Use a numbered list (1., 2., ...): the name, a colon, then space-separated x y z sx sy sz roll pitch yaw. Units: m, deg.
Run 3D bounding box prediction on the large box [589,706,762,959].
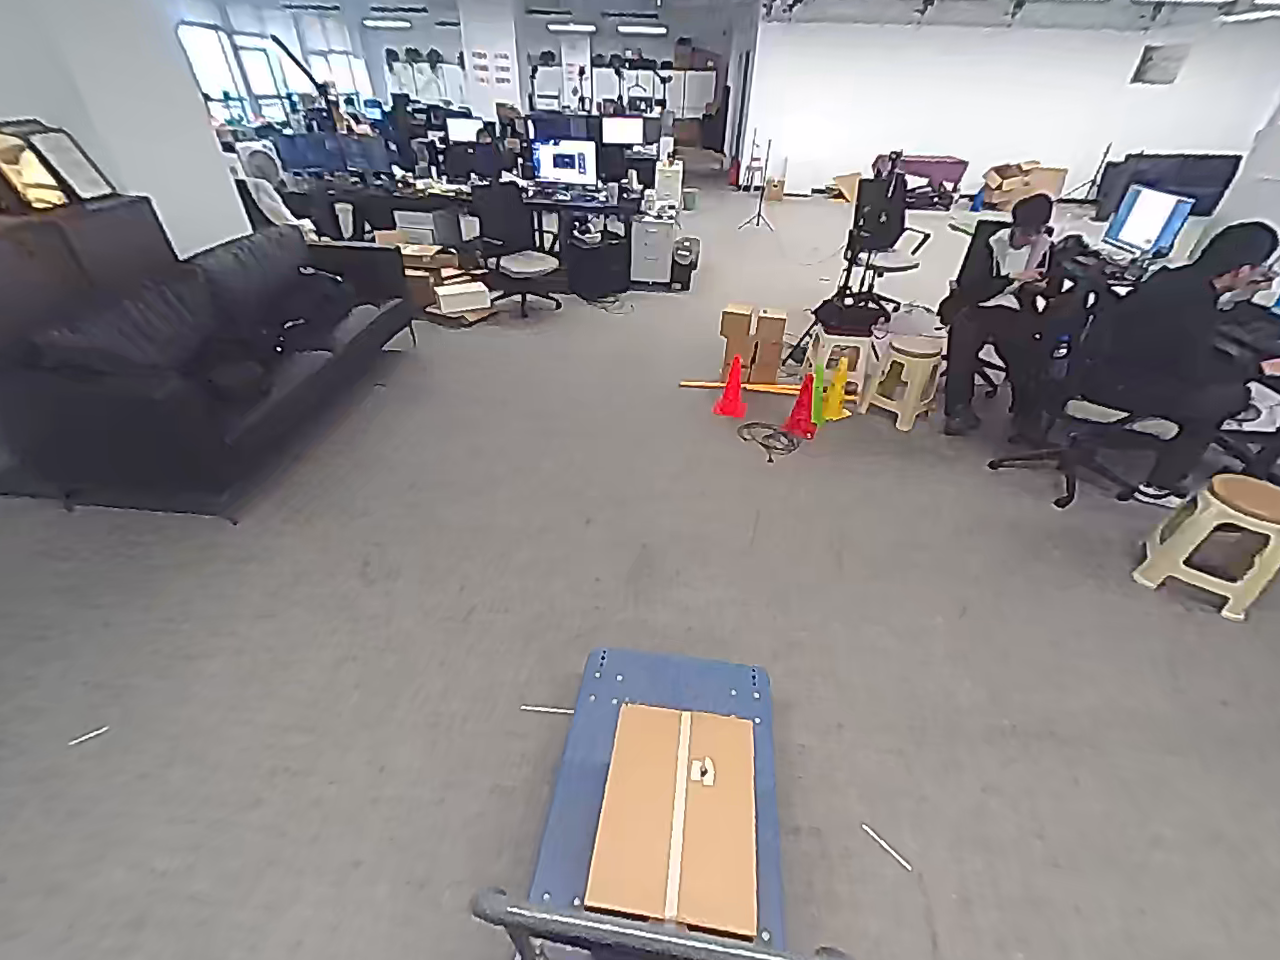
1. large box: 0.081 0.783 1.190 0.320 0.320 0.408 6 36 6
